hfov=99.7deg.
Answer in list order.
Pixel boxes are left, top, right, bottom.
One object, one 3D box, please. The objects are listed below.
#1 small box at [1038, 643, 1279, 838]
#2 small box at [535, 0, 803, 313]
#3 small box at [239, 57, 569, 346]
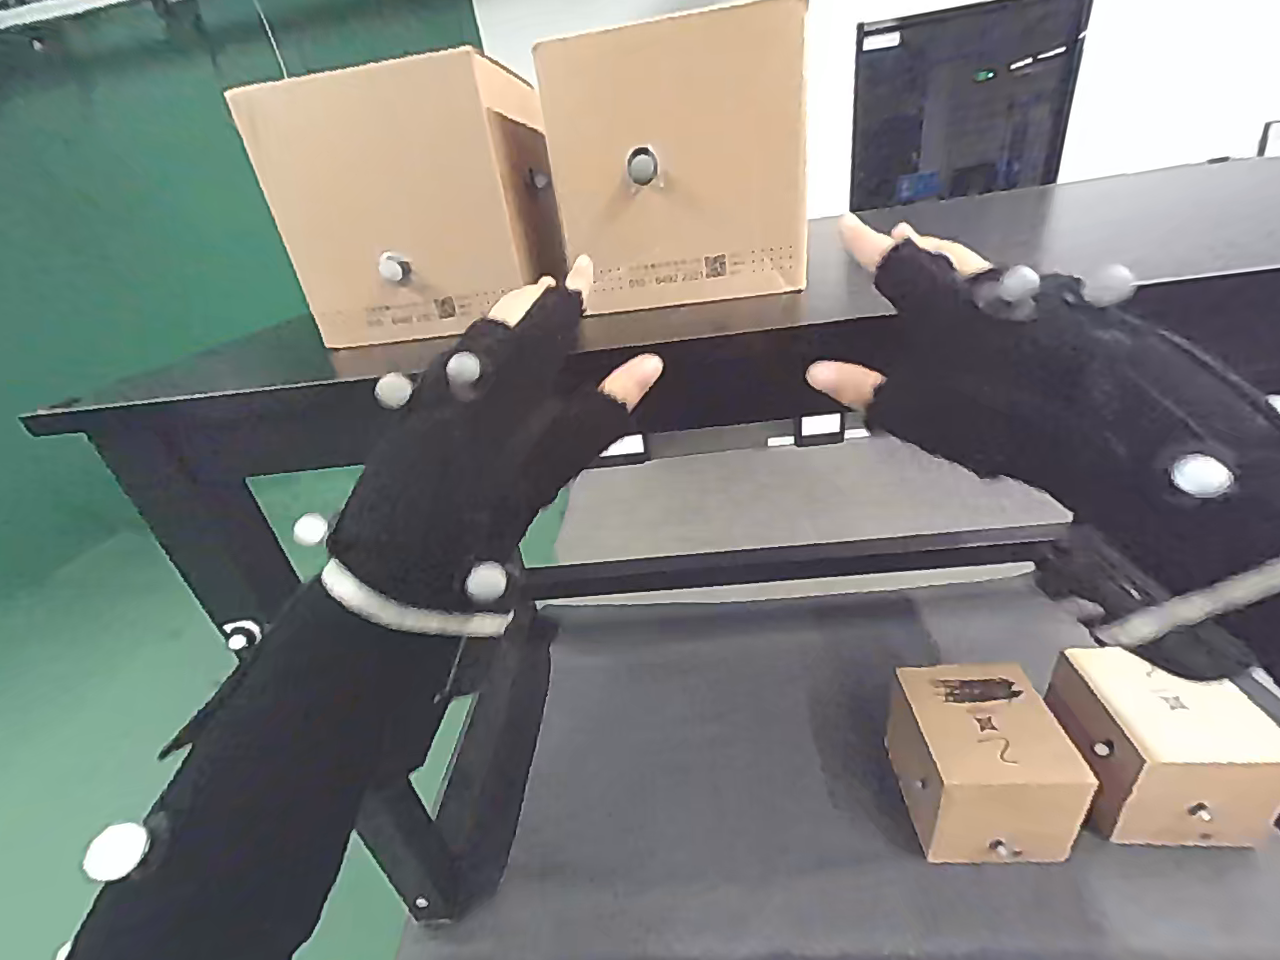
[{"bbox_3d":[0.674,0.343,0.718,0.168,0.176,0.179,-4,28,9],"label":"small box"},{"bbox_3d":[0.033,-0.236,0.429,0.168,0.176,0.179,-4,28,8],"label":"small box"},{"bbox_3d":[-0.162,-0.218,0.445,0.168,0.176,0.179,-5,30,7],"label":"small box"}]
